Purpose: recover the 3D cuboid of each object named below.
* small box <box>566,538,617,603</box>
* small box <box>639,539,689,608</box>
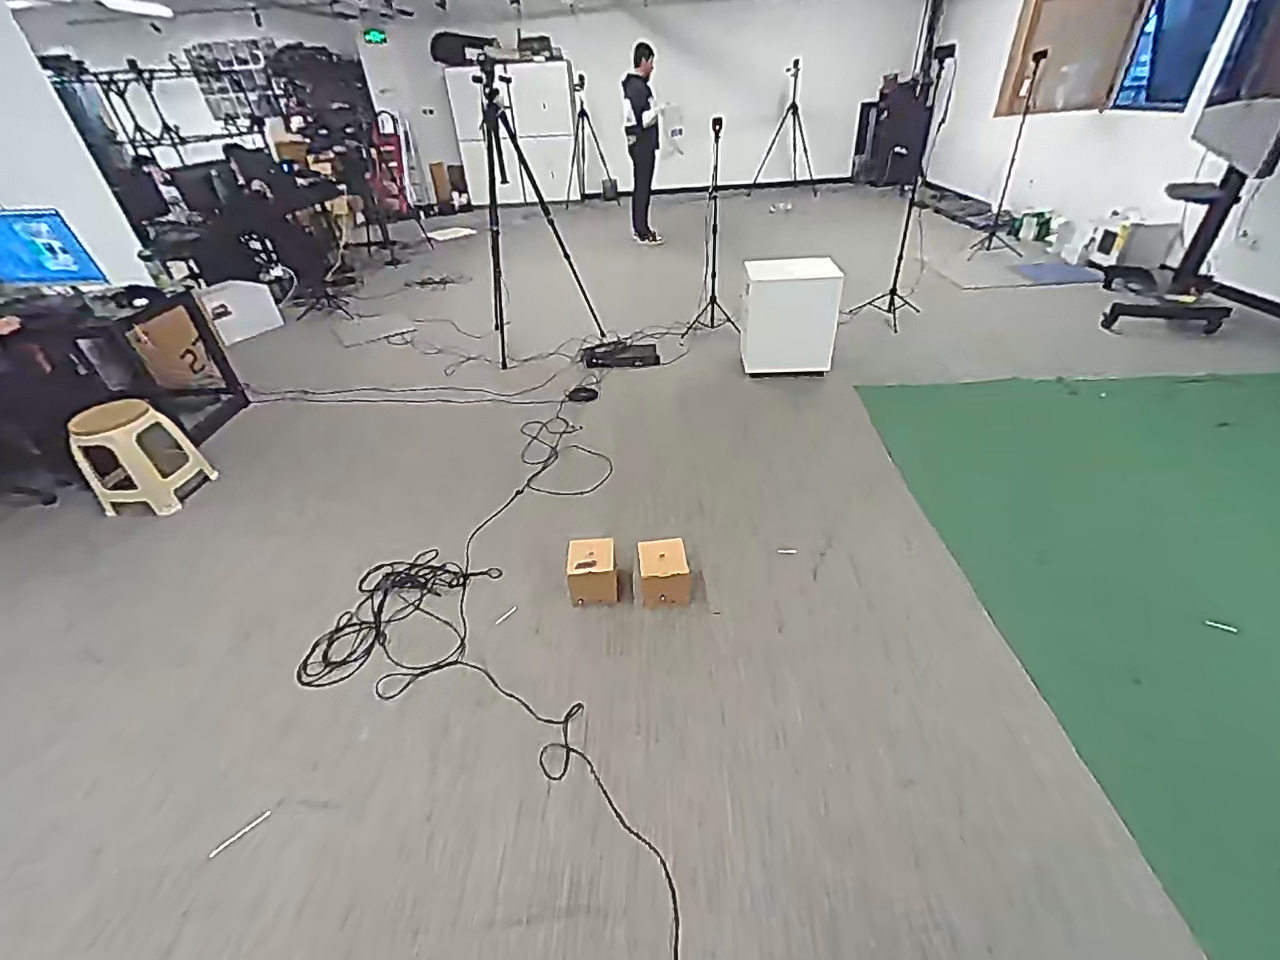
[{"bbox_3d":[-0.171,0.334,1.976,0.168,0.176,0.179,-4,36,0],"label":"small box"},{"bbox_3d":[0.084,0.336,1.952,0.168,0.176,0.179,-6,37,-2],"label":"small box"}]
